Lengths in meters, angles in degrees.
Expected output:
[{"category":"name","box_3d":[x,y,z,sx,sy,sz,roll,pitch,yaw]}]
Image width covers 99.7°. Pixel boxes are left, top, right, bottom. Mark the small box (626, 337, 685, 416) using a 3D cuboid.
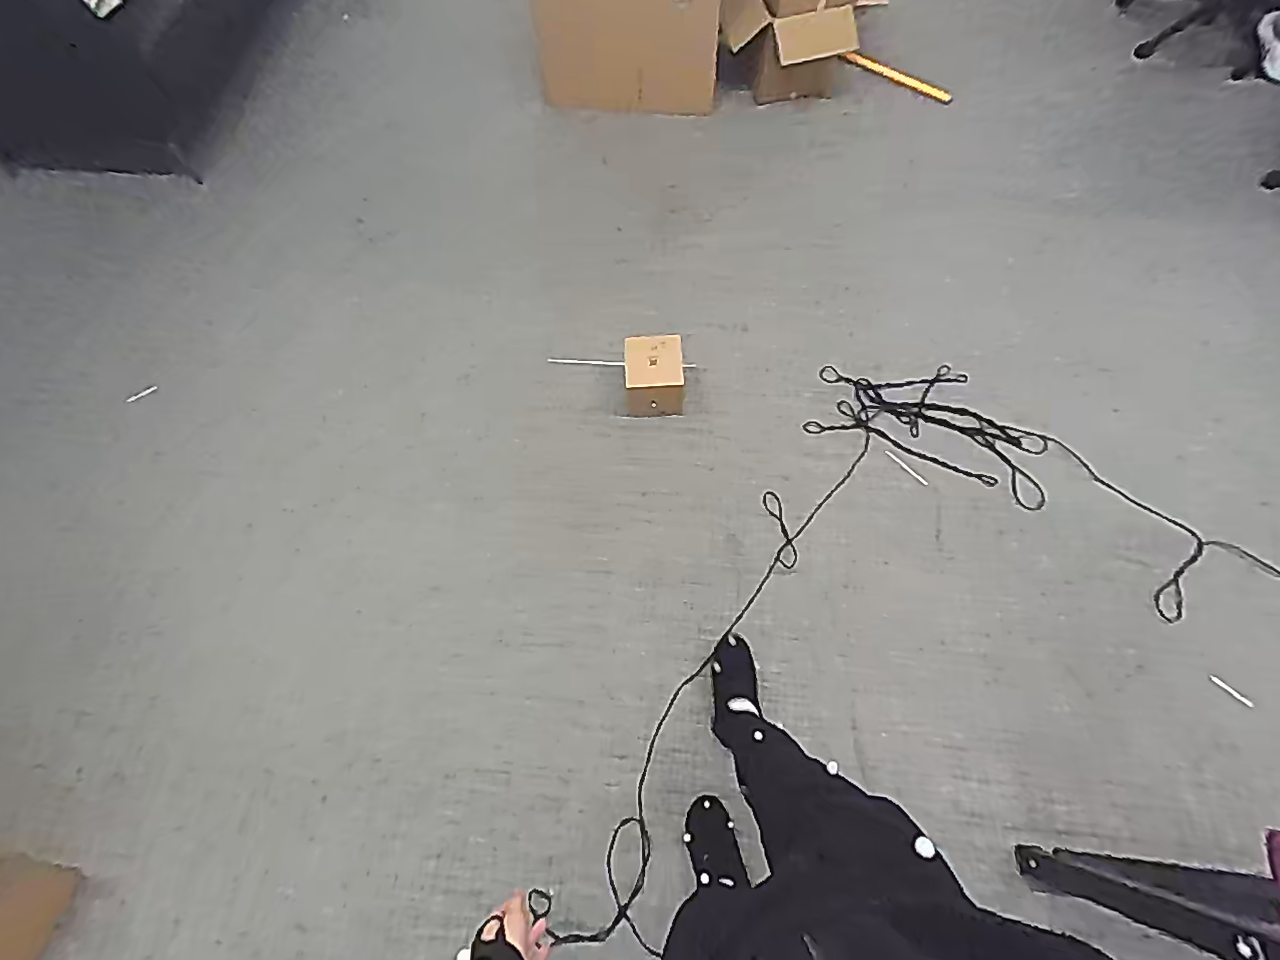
[{"category":"small box","box_3d":[0.048,-0.301,1.614,0.168,0.176,0.179,-3,66,2]}]
